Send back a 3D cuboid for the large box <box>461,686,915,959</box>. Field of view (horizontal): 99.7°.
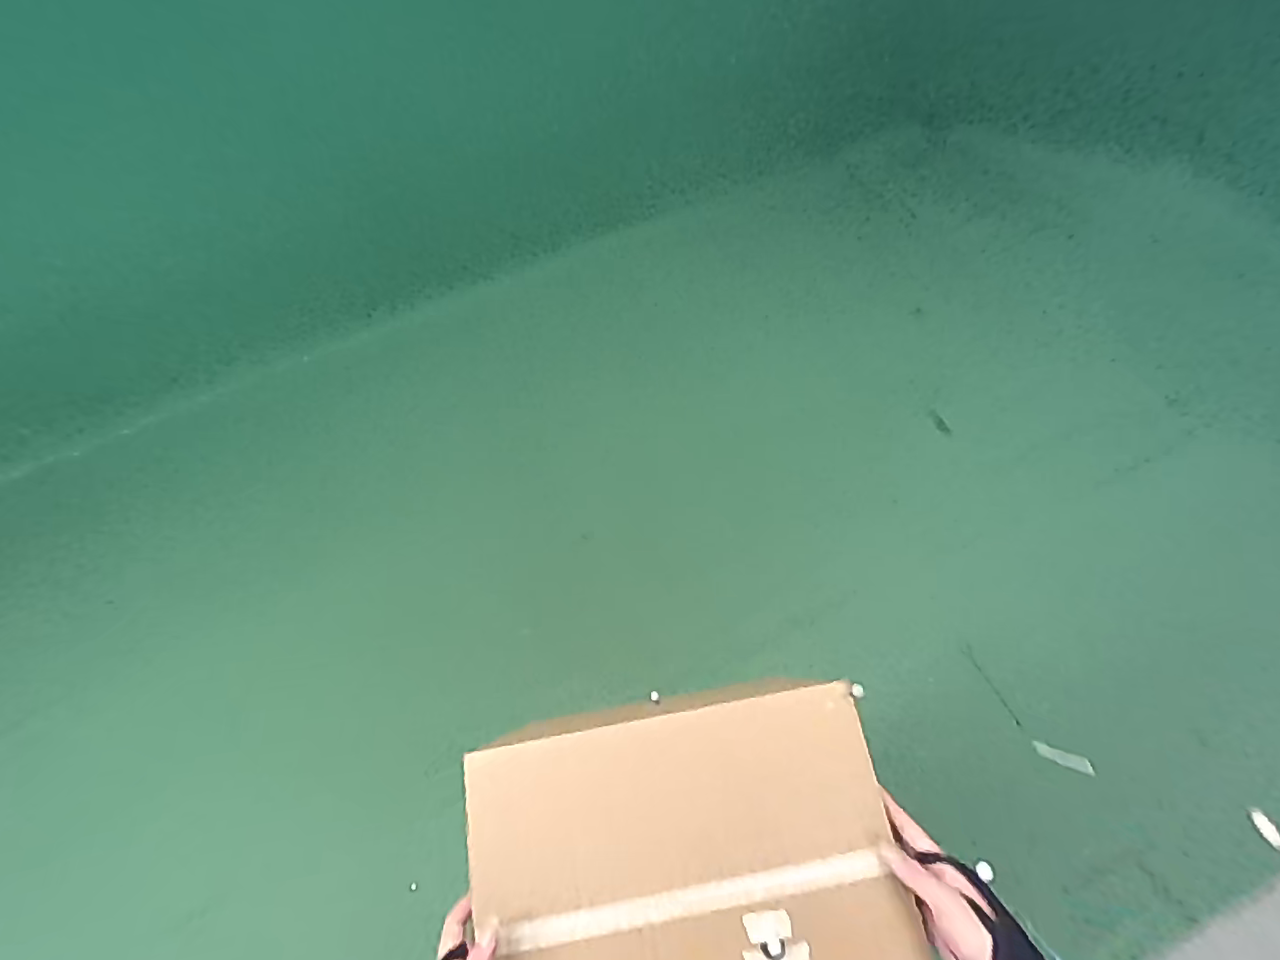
[{"bbox_3d":[0.042,0.450,0.650,0.408,0.320,0.320,-11,71,-3],"label":"large box"}]
